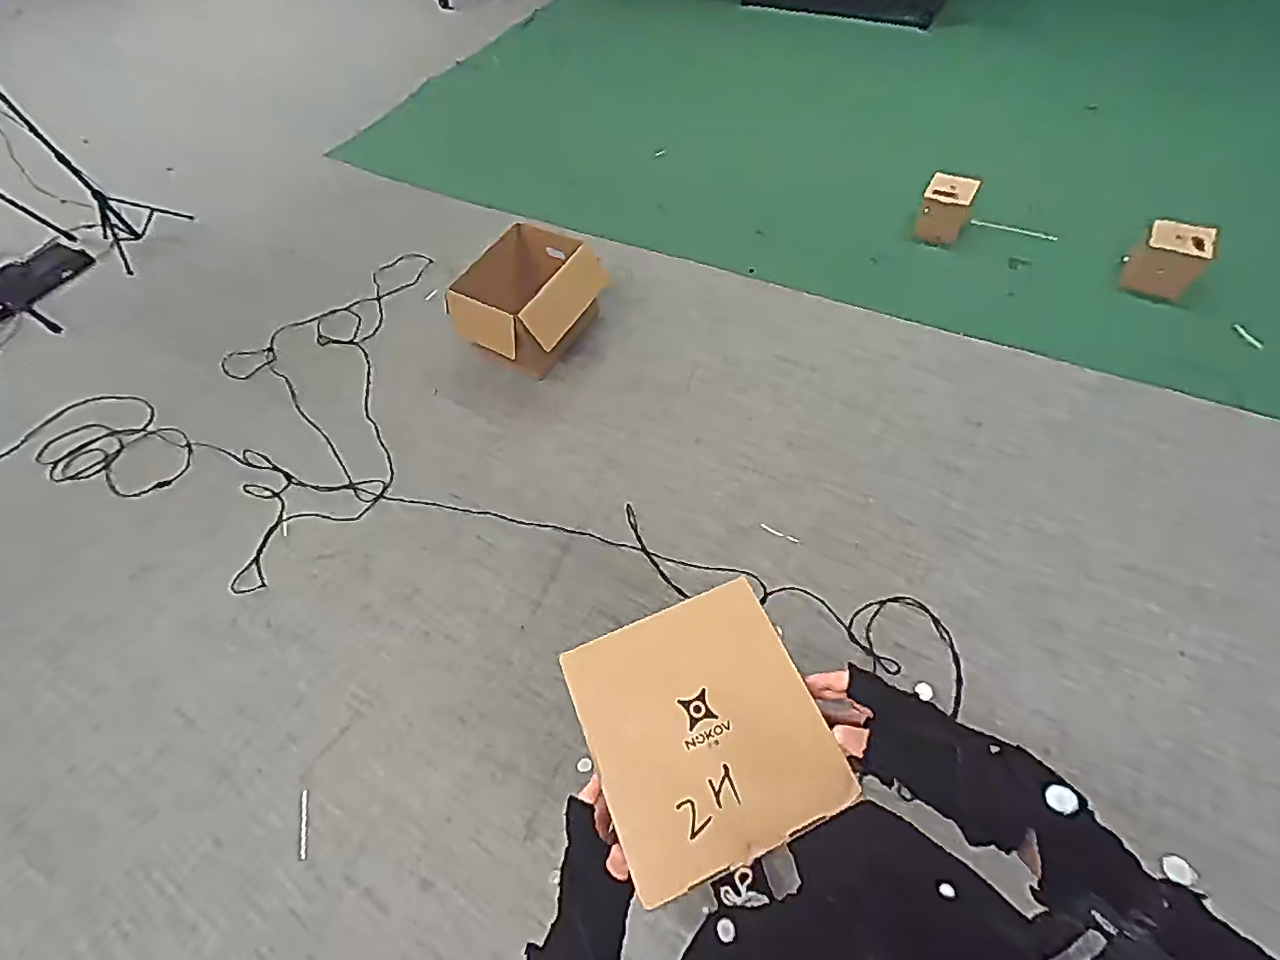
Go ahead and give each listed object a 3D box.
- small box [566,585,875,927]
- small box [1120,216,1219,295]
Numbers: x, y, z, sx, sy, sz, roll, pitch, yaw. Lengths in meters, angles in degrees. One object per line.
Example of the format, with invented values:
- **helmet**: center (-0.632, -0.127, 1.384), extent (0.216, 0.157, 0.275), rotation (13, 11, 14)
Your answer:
- **small box**: center (0.052, 0.219, 0.449), extent (0.168, 0.176, 0.179), rotation (-21, 61, -8)
- **small box**: center (1.810, -0.764, 1.852), extent (0.179, 0.176, 0.168), rotation (25, 64, 20)
